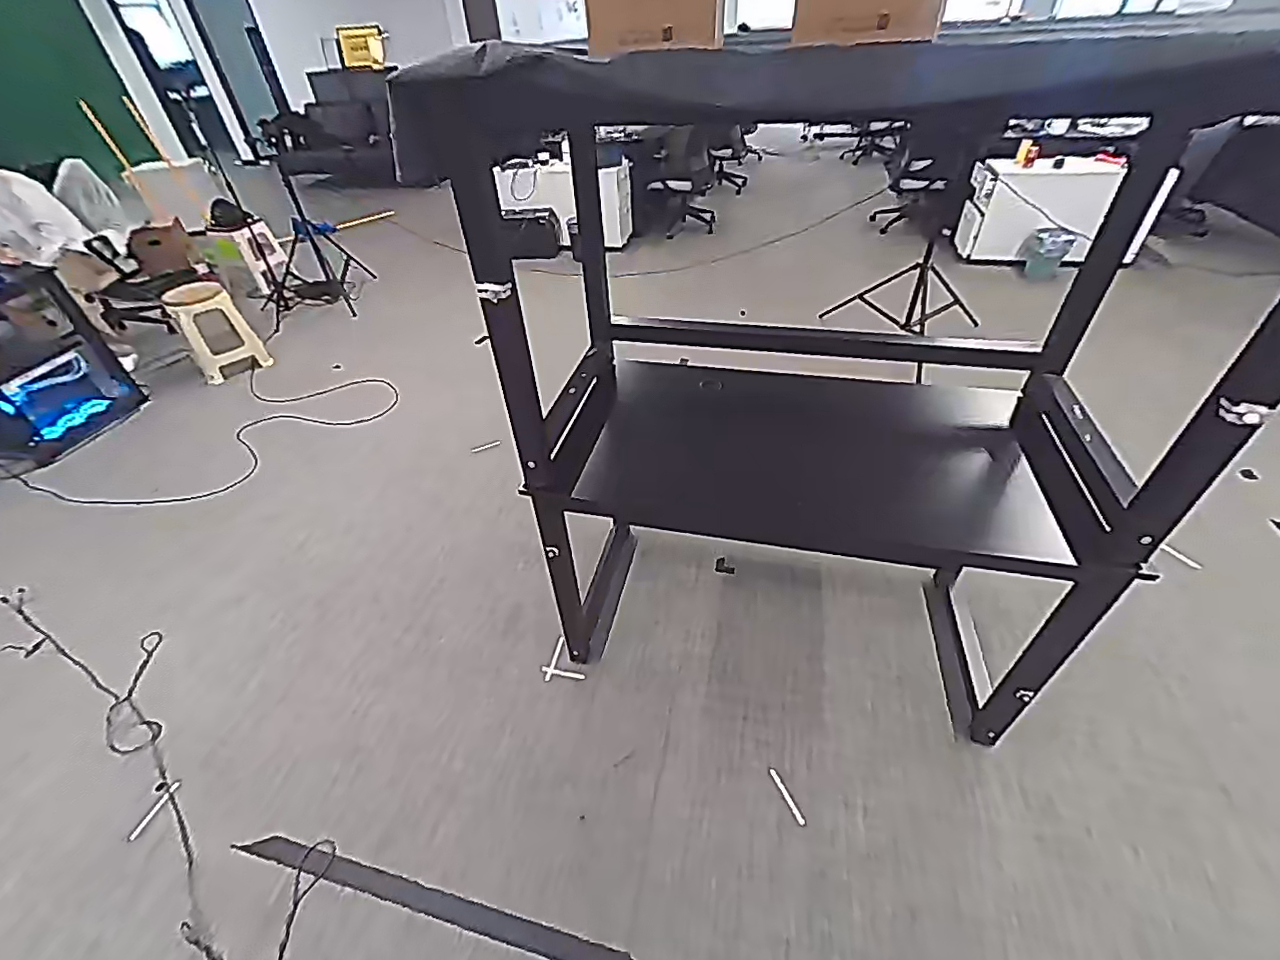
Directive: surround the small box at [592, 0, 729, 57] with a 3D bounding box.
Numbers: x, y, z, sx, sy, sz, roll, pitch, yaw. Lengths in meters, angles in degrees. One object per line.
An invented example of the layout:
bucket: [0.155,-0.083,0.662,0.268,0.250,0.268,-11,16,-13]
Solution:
small box: [0.030,-0.661,0.702,0.168,0.176,0.179,5,41,8]
